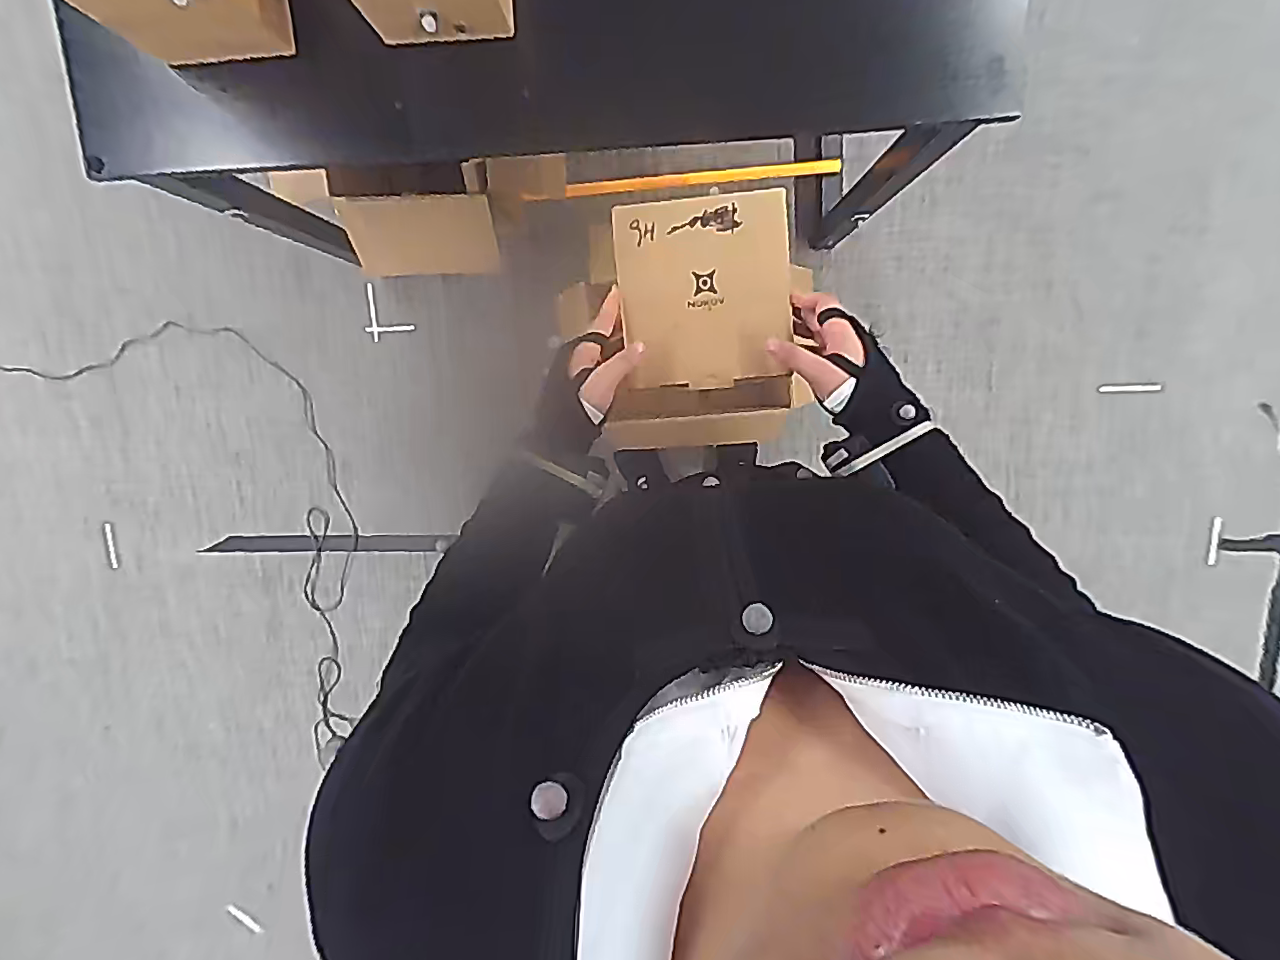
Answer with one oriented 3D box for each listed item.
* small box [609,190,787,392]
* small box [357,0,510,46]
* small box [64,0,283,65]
[{"bbox_3d":[0.062,-0.196,0.603,0.168,0.176,0.179,-5,100,3],"label":"small box"},{"bbox_3d":[-0.246,-0.618,0.584,0.168,0.176,0.179,-1,100,3],"label":"small box"},{"bbox_3d":[-0.530,-0.599,0.597,0.179,0.176,0.168,-3,99,2],"label":"small box"}]
